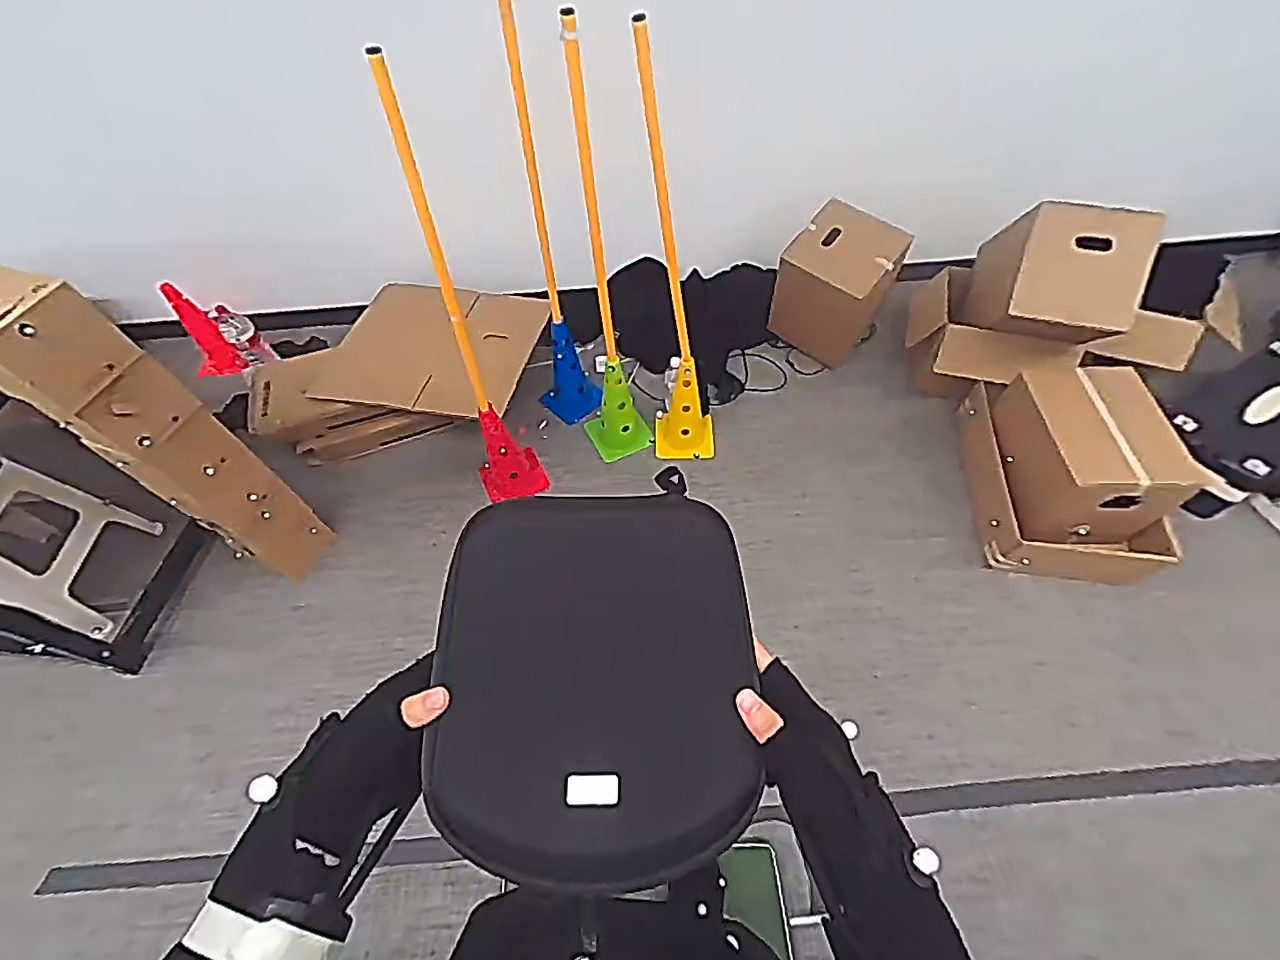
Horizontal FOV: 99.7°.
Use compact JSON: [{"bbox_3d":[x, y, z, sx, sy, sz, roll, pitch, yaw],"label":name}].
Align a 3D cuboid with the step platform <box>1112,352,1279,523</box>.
[{"bbox_3d":[1.881,-0.151,1.726,0.684,0.204,0.286,-29,60,-16],"label":"step platform"}]
